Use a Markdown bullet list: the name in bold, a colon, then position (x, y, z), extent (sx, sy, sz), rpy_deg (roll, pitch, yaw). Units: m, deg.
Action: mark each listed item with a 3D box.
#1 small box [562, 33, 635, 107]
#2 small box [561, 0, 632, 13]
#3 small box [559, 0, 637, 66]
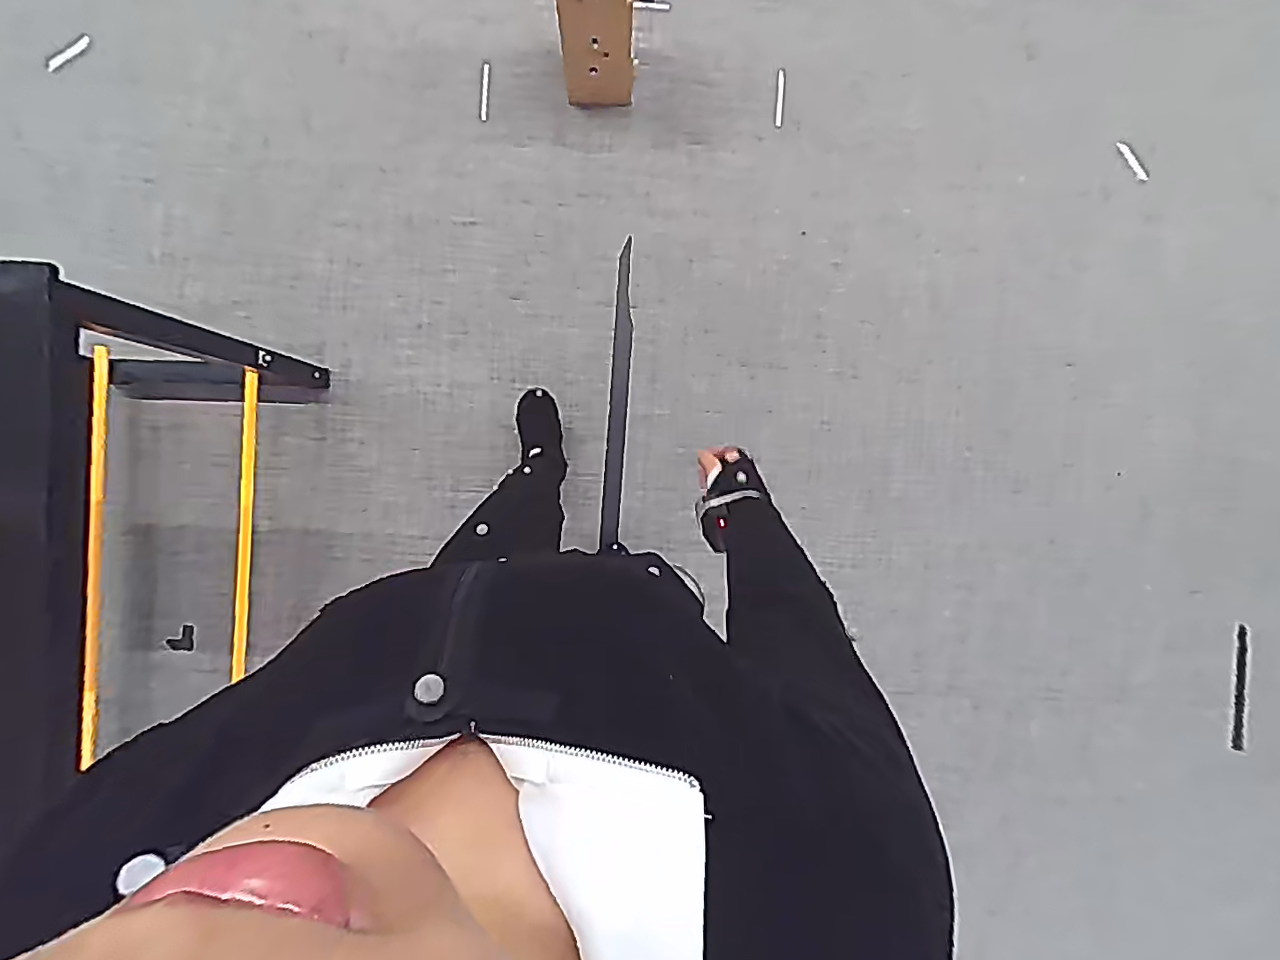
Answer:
- **small box**: position (-0.103, -1.087, 1.379), extent (0.179, 0.176, 0.168), rpy_deg (-1, 91, -3)
- **small box**: position (-0.085, -1.076, 1.052), extent (0.168, 0.176, 0.179), rpy_deg (9, 92, -1)
- **small box**: position (-0.091, -1.085, 1.214), extent (0.168, 0.176, 0.179), rpy_deg (3, 91, -2)
